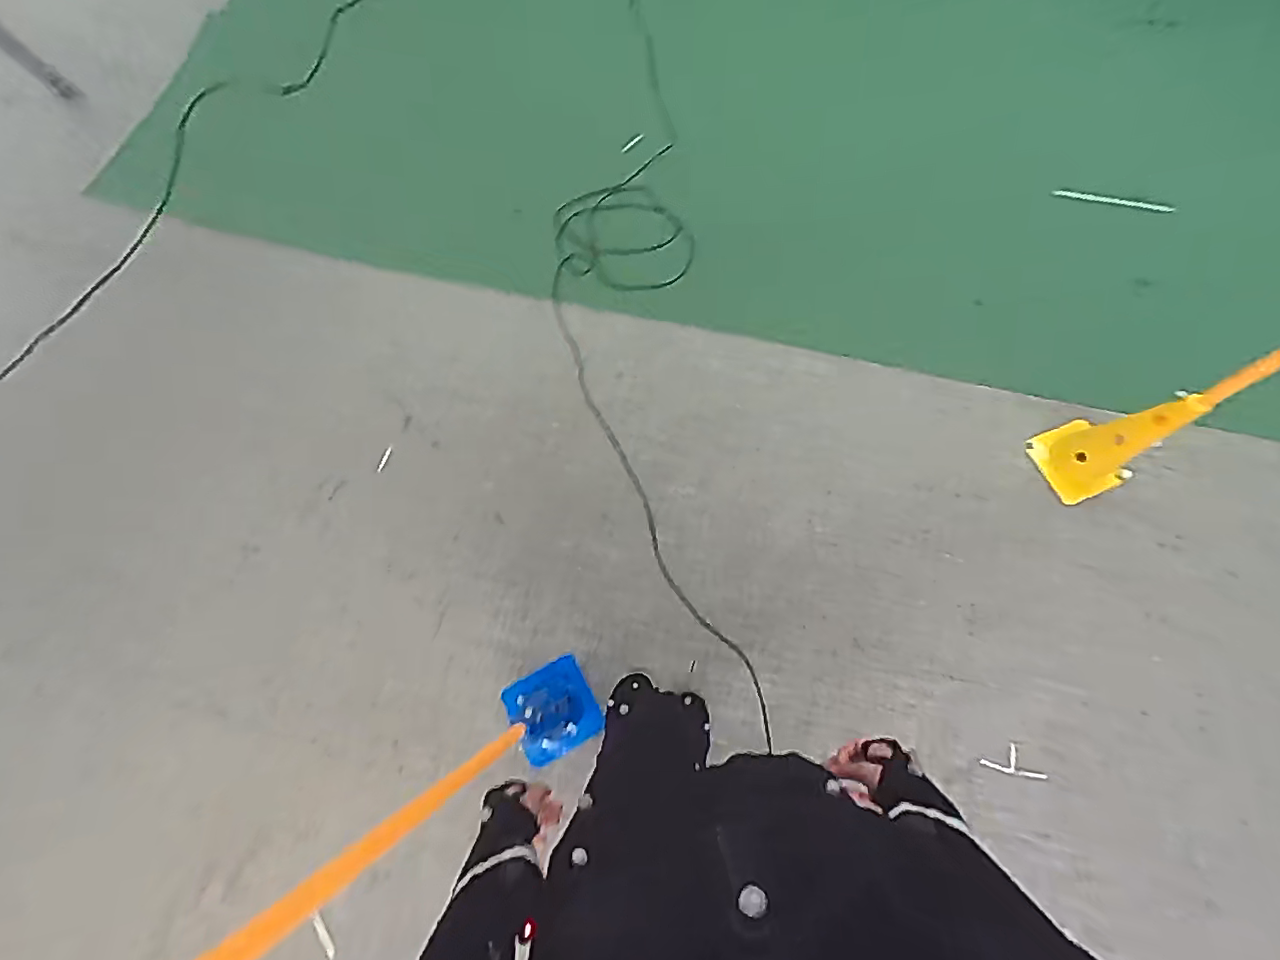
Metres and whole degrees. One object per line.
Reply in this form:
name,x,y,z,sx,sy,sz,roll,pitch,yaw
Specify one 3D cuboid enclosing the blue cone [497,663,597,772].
blue cone,-0.218,0.508,1.102,0.193,0.380,0.192,-31,75,-7
